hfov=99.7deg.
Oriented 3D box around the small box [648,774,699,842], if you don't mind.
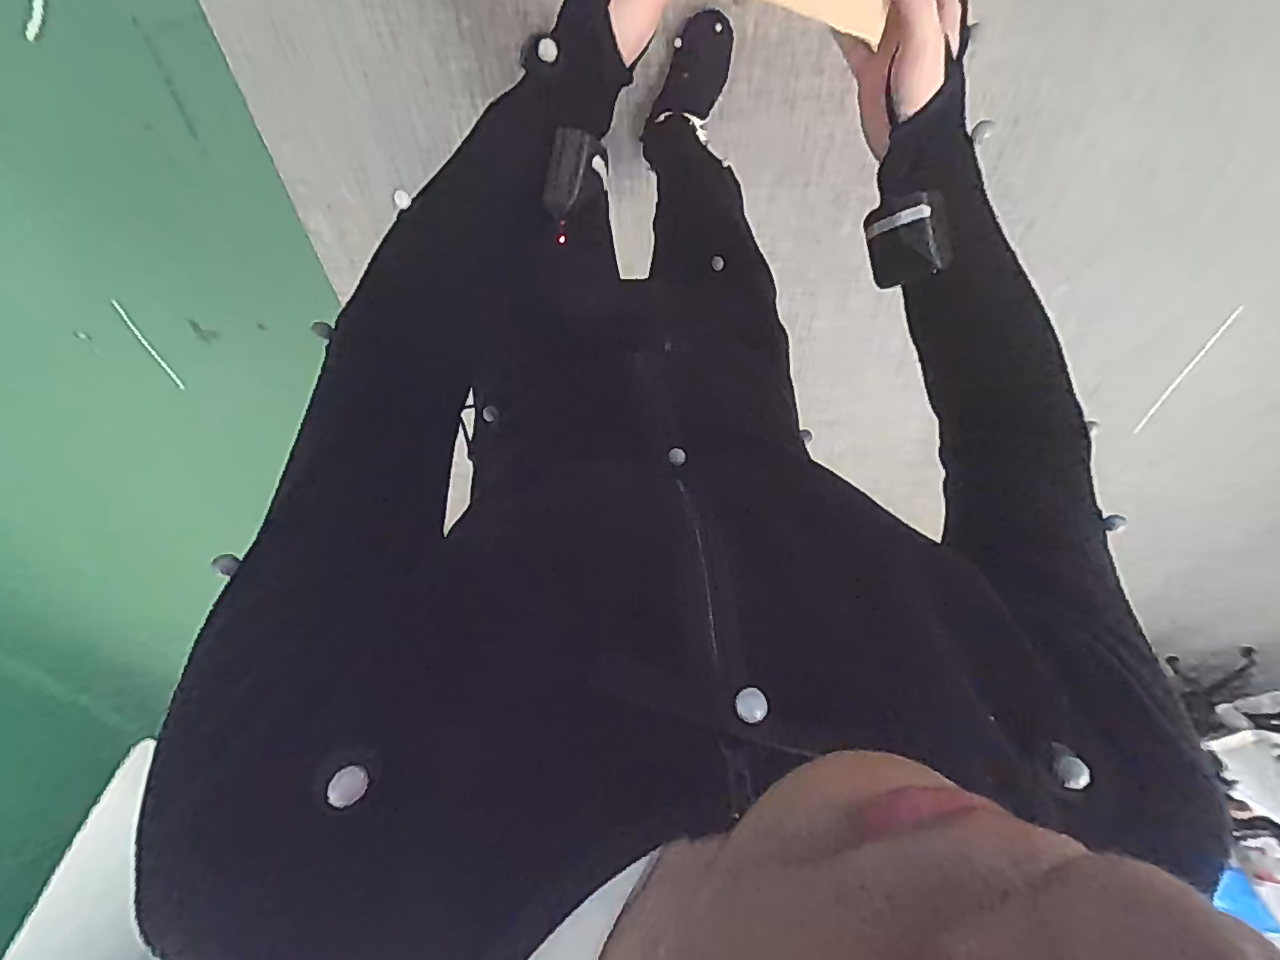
[{"bbox_3d":[0.109,1.103,1.819,0.168,0.176,0.179,-1,137,3],"label":"small box"}]
